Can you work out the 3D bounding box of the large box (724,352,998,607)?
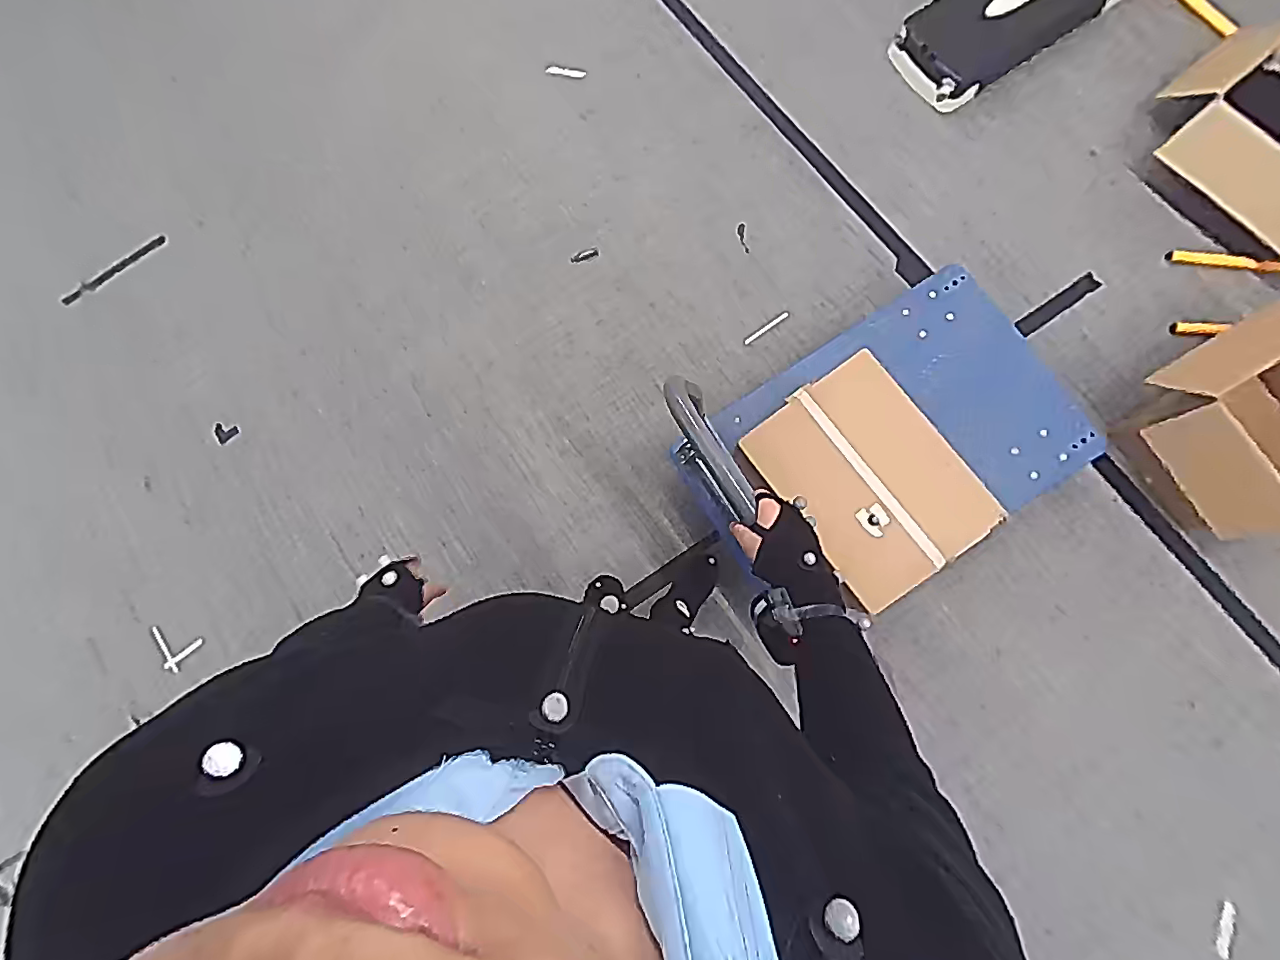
[{"bbox_3d":[0.433,0.010,1.169,0.320,0.320,0.408,-37,82,0],"label":"large box"}]
